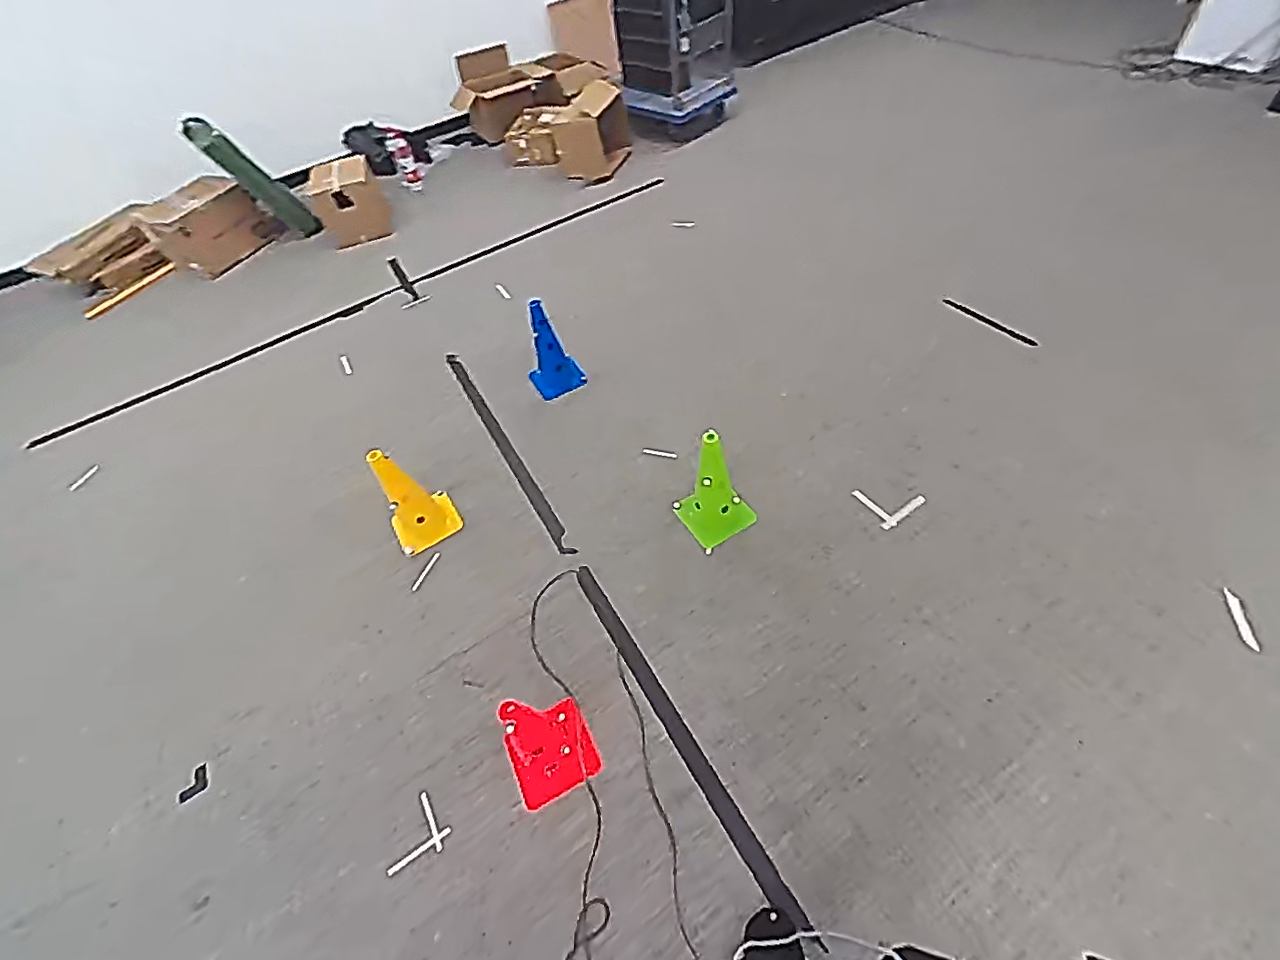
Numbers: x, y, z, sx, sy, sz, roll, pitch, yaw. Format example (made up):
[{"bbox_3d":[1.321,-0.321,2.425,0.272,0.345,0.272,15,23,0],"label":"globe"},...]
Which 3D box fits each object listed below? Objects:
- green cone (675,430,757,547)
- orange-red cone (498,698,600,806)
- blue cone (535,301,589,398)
[{"bbox_3d":[0.217,-0.004,1.570,0.202,0.368,0.200,-28,53,-15],"label":"green cone"},{"bbox_3d":[-0.240,0.560,1.201,0.199,0.360,0.198,-26,51,-10],"label":"orange-red cone"},{"bbox_3d":[-0.343,-0.517,2.089,0.192,0.380,0.193,-25,53,-12],"label":"blue cone"}]
